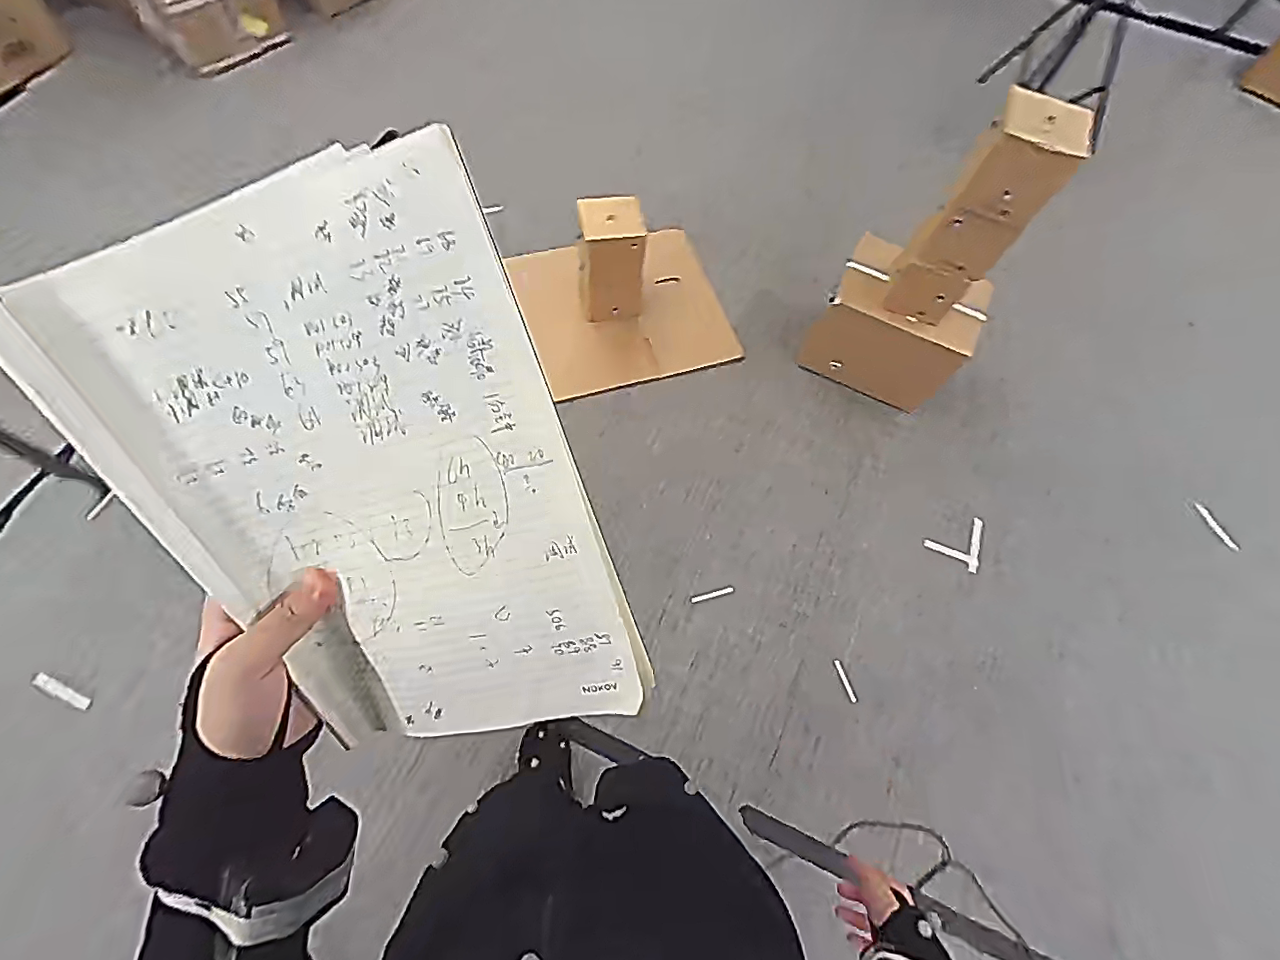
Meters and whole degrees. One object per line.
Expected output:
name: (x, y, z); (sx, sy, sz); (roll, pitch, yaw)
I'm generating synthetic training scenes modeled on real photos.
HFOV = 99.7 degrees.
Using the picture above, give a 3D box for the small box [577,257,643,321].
small box: (-0.104, -0.637, 1.749); (0.179, 0.176, 0.168); (-11, 67, -13)

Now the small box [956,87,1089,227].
small box: (0.813, -0.687, 1.161); (0.168, 0.176, 0.179); (22, 66, 5)

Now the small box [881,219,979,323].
small box: (0.776, -0.557, 1.461); (0.168, 0.176, 0.179); (21, 65, 3)

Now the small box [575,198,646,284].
small box: (-0.092, -0.703, 1.600); (0.179, 0.176, 0.168); (-10, 67, -12)
